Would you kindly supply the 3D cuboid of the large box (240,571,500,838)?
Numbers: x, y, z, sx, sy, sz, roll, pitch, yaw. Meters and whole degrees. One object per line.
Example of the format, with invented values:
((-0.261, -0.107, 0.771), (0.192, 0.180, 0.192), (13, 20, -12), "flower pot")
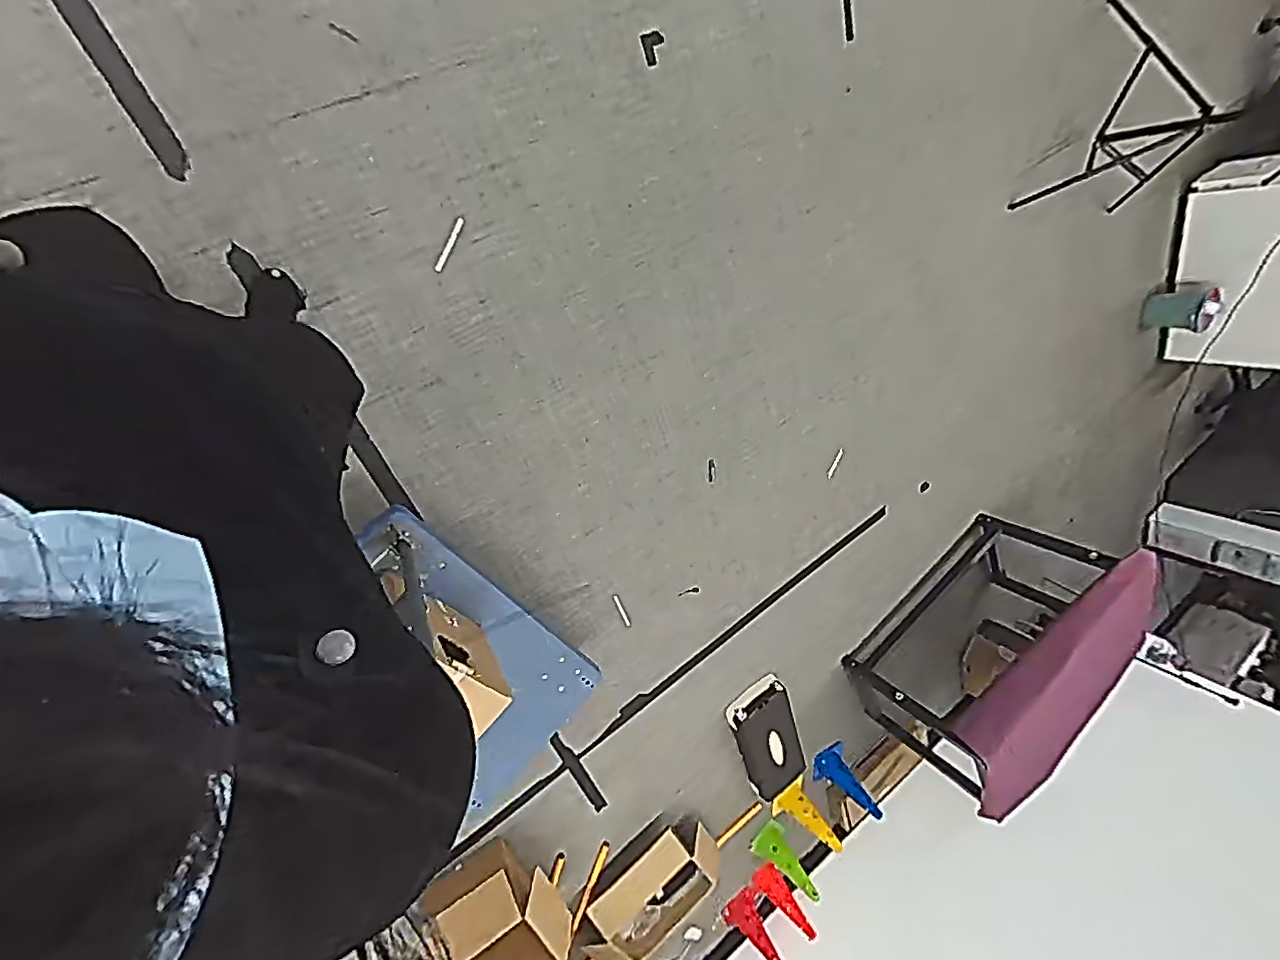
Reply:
((-0.597, 0.490, 1.225), (0.408, 0.320, 0.320), (-48, 123, -7), "large box")
